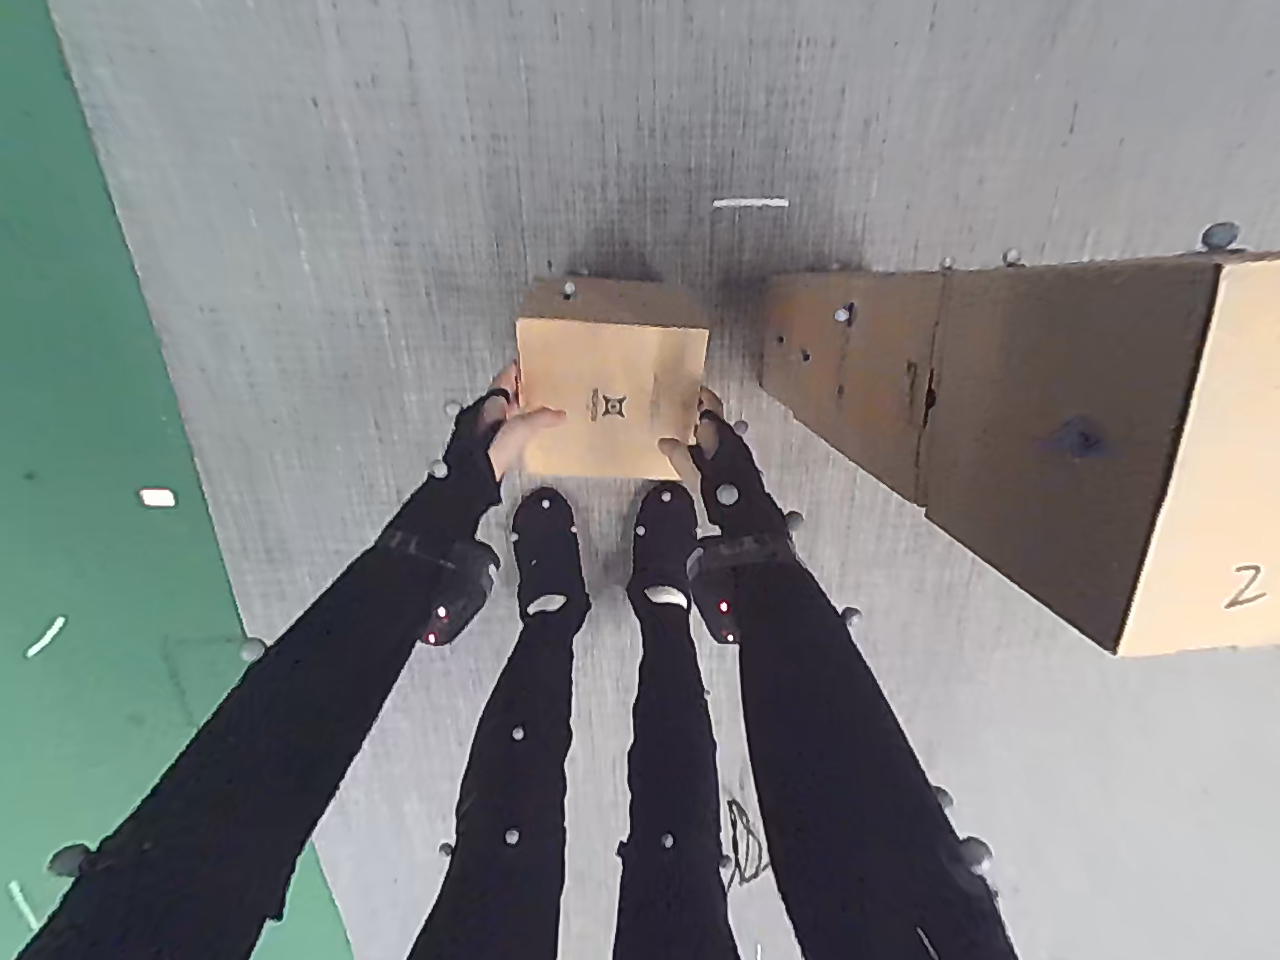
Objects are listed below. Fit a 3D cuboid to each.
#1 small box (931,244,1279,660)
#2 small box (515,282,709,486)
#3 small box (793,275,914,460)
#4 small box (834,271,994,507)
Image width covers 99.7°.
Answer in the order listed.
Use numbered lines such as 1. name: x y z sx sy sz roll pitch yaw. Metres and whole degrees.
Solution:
1. small box: 0.288 -0.030 0.297 0.168 0.176 0.179 -4 109 -1
2. small box: -0.034 -0.111 0.591 0.179 0.176 0.168 4 122 -5
3. small box: 0.280 -0.134 0.609 0.168 0.176 0.179 -4 110 -3
4. small box: 0.279 -0.085 0.452 0.179 0.176 0.168 -3 109 -2
